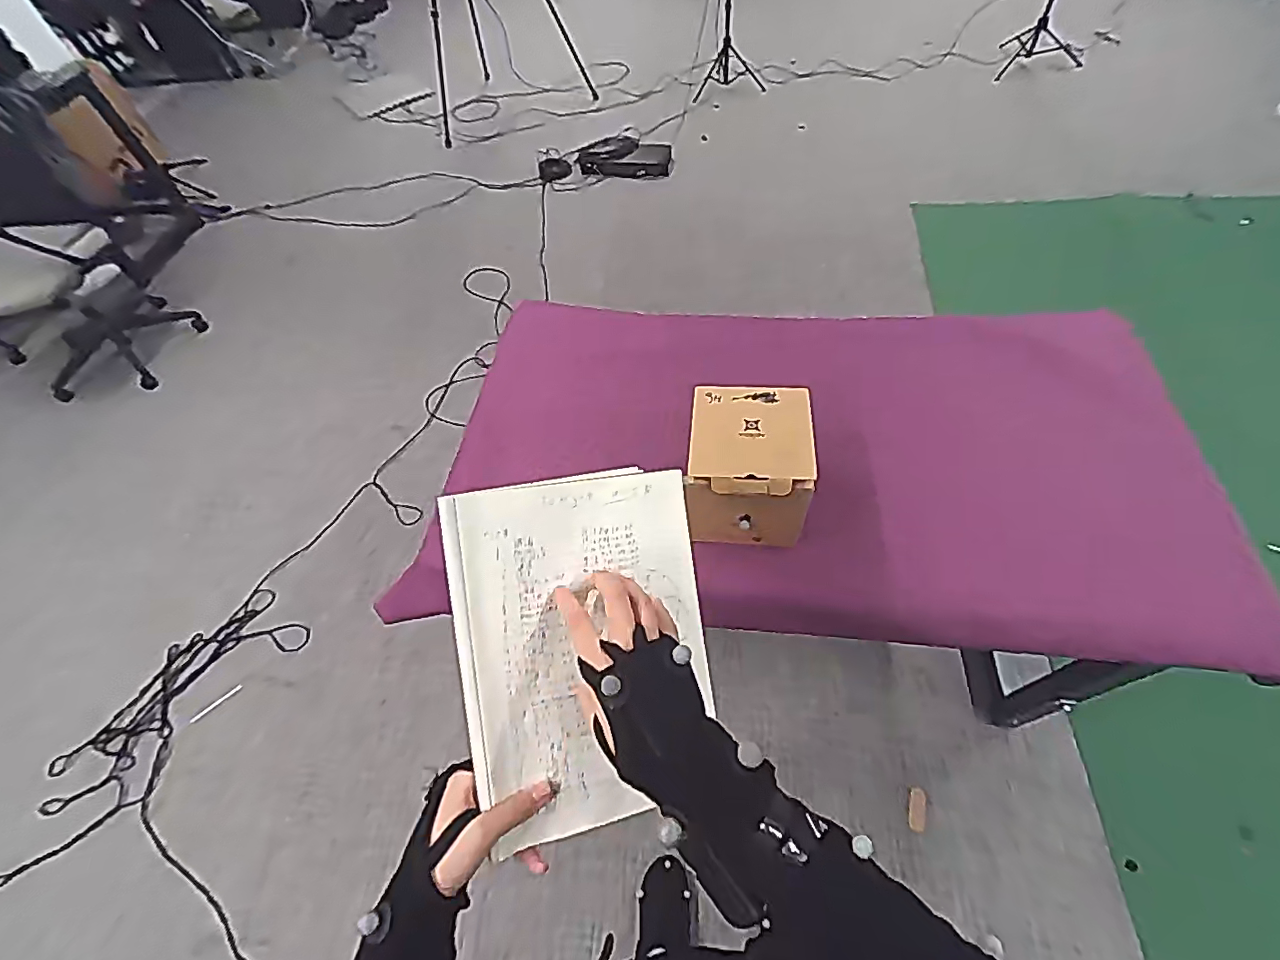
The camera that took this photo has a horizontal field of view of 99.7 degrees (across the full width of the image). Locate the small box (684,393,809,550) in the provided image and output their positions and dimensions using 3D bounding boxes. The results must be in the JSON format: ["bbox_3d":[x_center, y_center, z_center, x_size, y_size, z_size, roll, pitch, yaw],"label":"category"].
[{"bbox_3d":[0.158,-0.009,0.816,0.168,0.176,0.179,3,56,8],"label":"small box"}]
